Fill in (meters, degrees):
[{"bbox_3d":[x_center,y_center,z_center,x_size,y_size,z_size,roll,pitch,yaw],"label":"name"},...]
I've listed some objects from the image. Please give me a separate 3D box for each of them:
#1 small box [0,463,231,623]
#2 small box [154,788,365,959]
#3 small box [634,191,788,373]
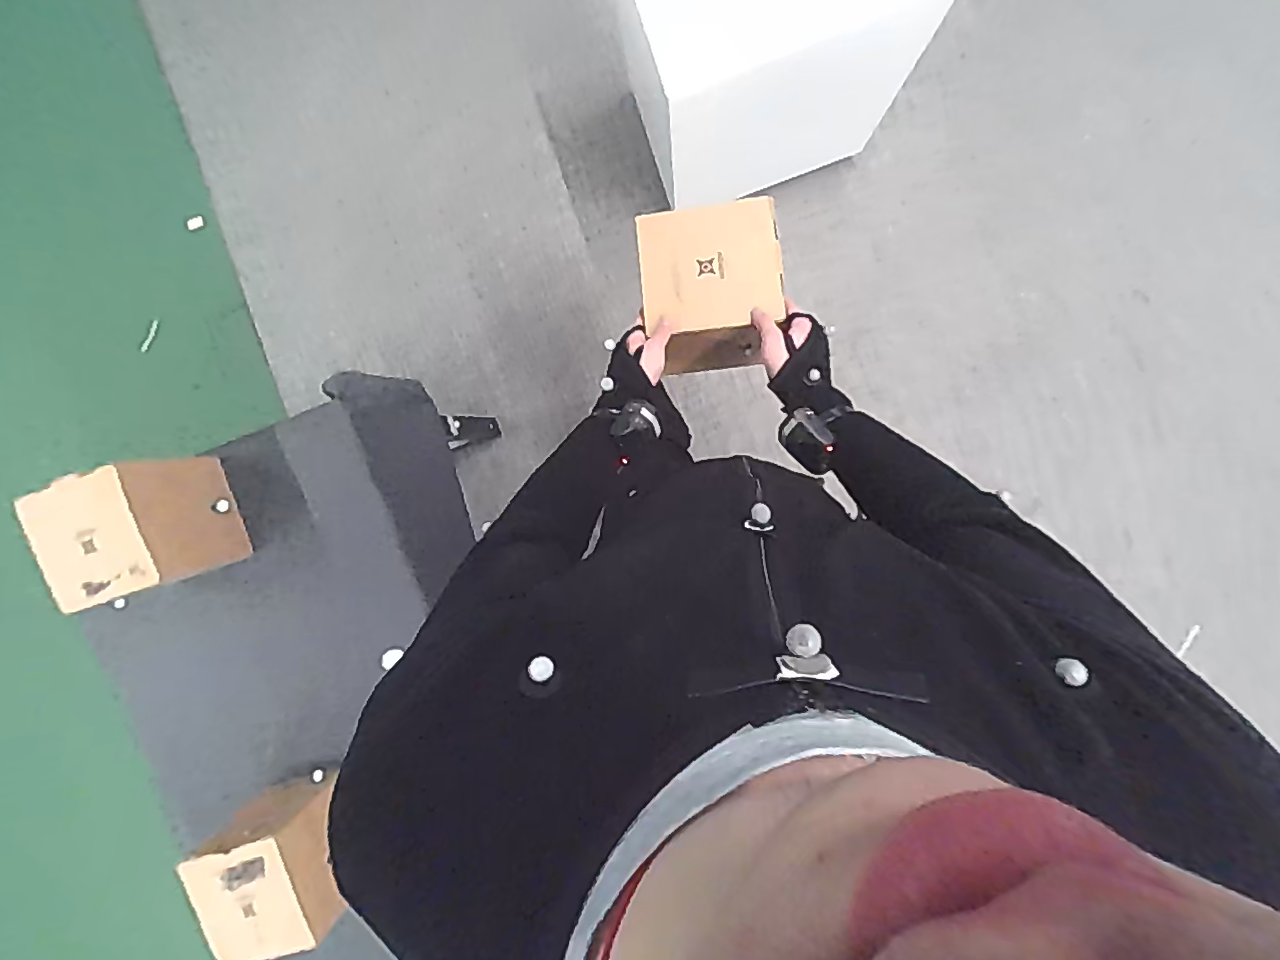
[{"bbox_3d":[-0.753,0.079,0.784,0.168,0.176,0.179,-18,94,5],"label":"small box"},{"bbox_3d":[-0.558,0.602,0.818,0.168,0.176,0.179,-18,94,5],"label":"small box"},{"bbox_3d":[0.093,-0.256,0.736,0.179,0.176,0.168,-6,82,7],"label":"small box"}]
